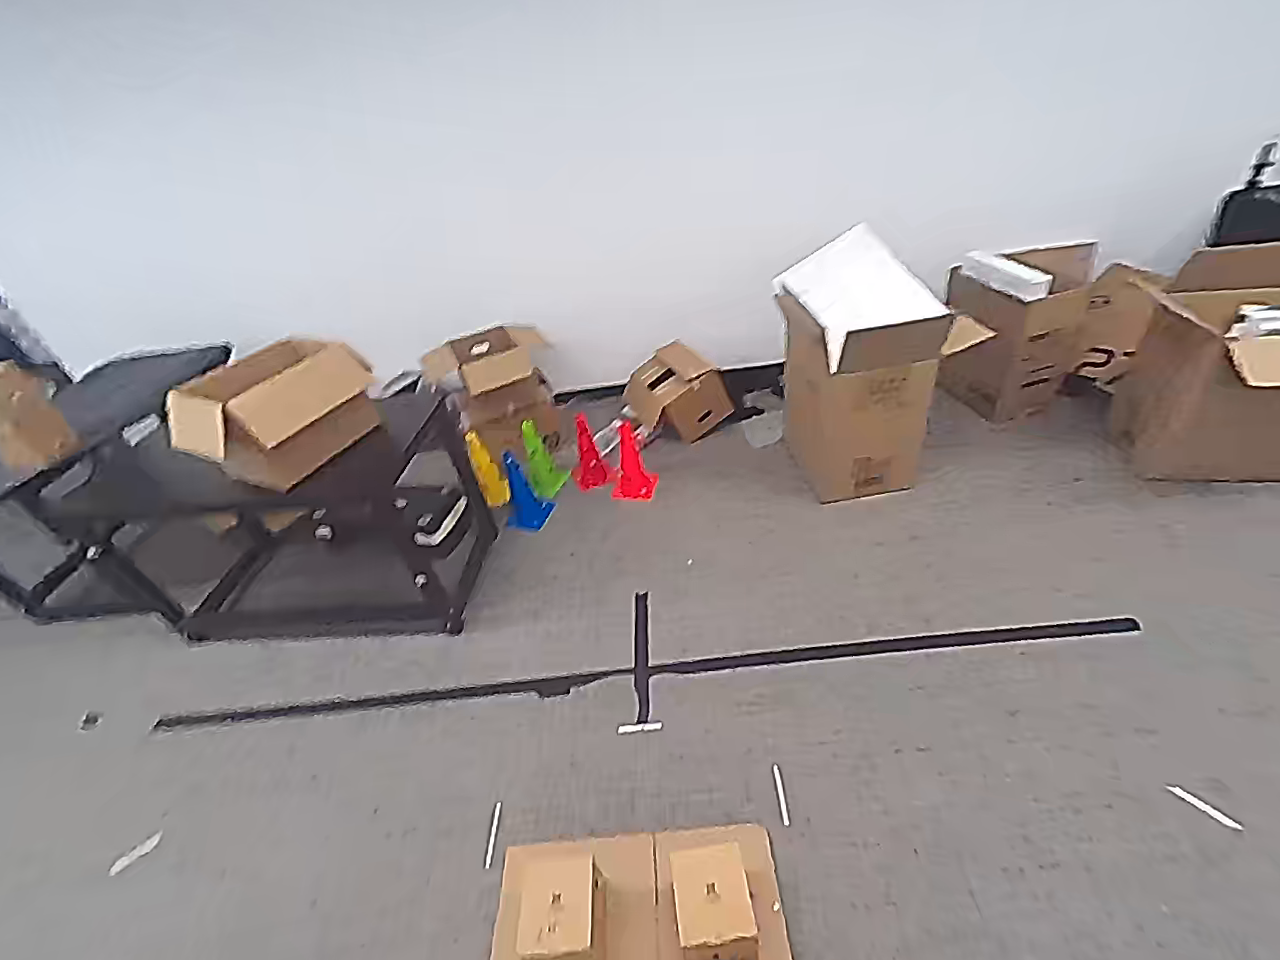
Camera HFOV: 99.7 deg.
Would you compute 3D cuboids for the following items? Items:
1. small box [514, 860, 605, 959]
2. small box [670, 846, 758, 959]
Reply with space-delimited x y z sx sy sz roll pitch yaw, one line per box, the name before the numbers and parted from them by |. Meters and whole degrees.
small box | -0.177 1.013 1.246 0.168 0.176 0.179 -9 37 3
small box | 0.165 0.974 1.229 0.168 0.176 0.179 -10 37 0
